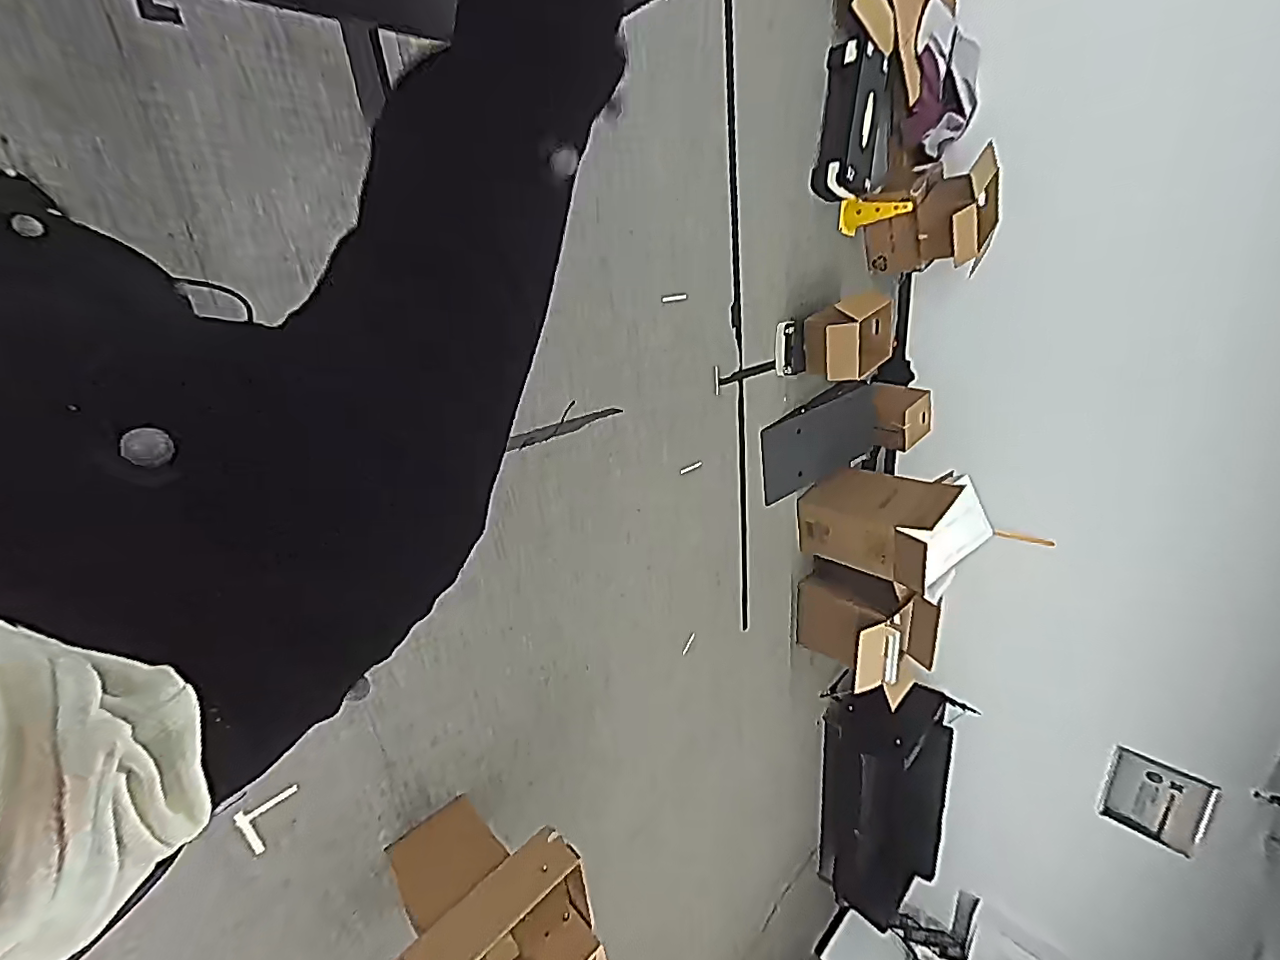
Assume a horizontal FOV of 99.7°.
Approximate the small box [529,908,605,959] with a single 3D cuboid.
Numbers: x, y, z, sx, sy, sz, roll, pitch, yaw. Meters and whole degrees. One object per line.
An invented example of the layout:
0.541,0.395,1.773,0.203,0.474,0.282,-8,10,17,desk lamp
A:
-0.226,1.500,1.694,0.168,0.176,0.179,-28,123,-37,small box
